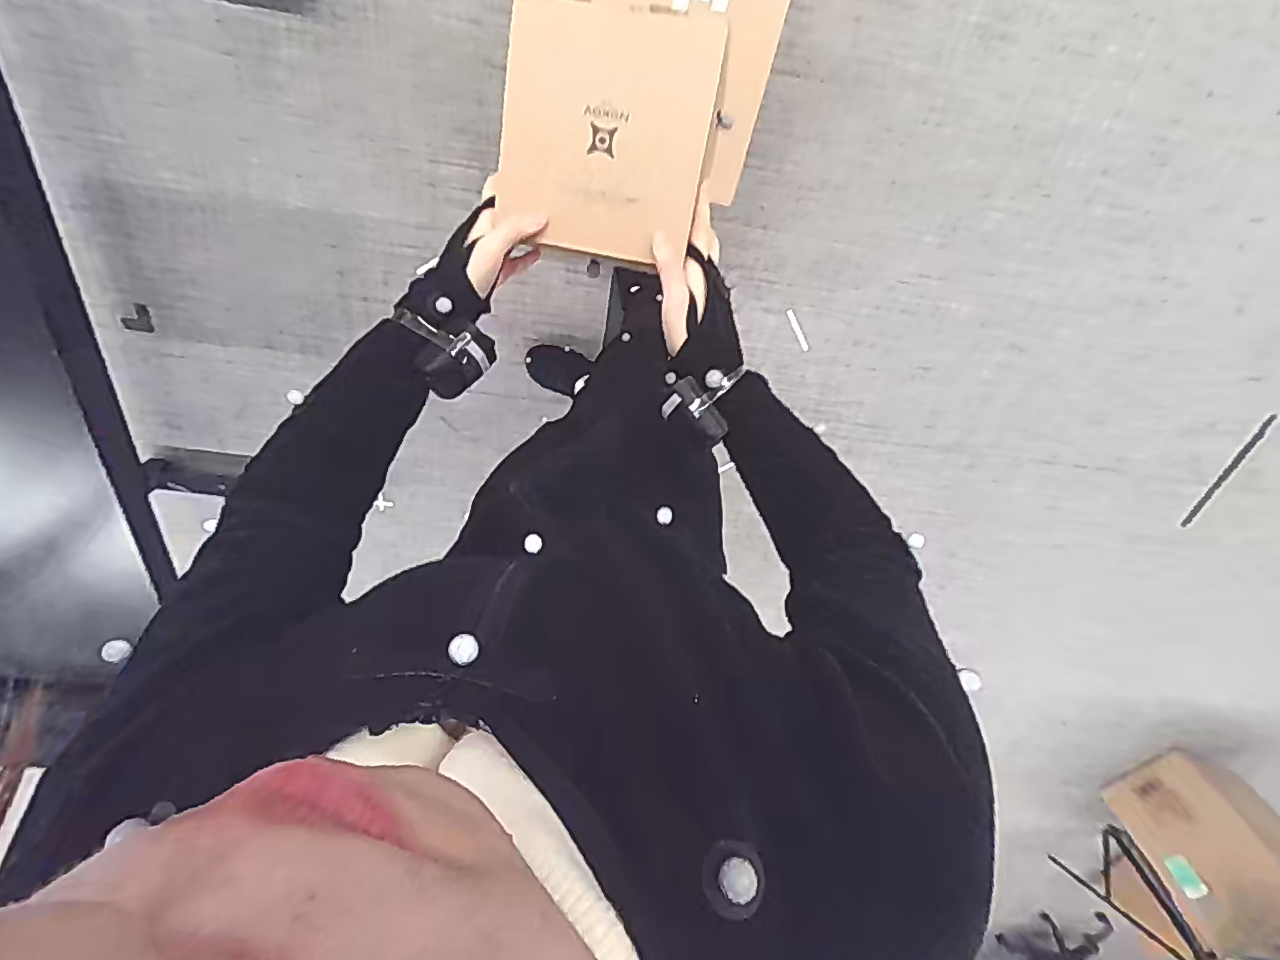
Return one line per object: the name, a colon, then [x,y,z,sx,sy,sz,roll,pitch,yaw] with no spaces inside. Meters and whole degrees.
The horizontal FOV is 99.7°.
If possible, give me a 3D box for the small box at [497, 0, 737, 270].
small box: [-0.016,-0.305,0.499,0.168,0.176,0.179,12,108,3]
